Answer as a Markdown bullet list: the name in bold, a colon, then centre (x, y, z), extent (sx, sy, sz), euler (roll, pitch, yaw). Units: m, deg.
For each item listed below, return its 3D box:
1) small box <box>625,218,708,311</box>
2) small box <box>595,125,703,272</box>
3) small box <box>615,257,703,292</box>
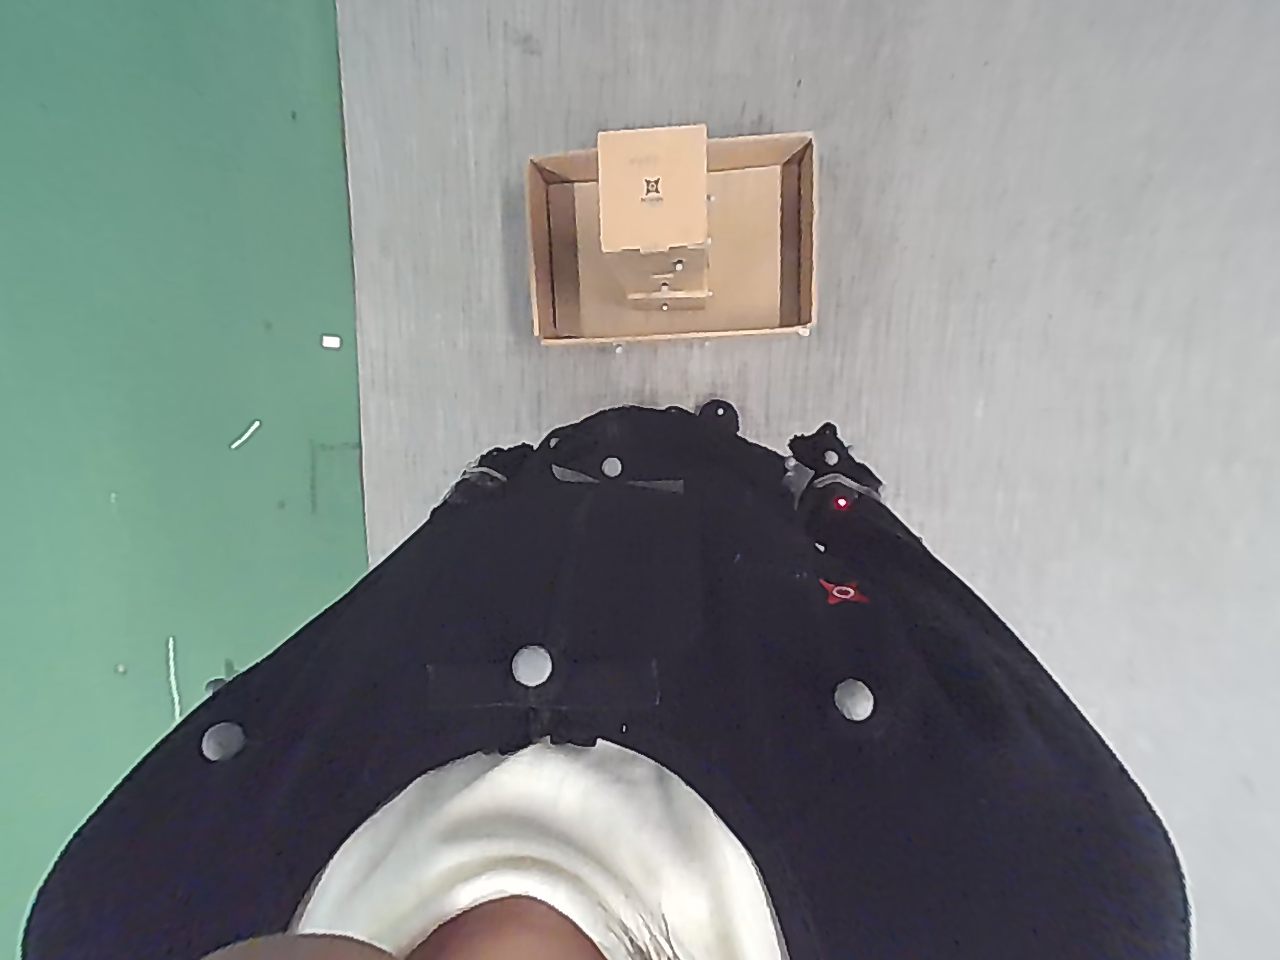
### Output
- **small box**: centre (0.063, -0.489, 1.242), extent (0.179, 0.176, 0.168), euler (2, 97, 7)
- **small box**: centre (0.021, -0.455, 0.904), extent (0.168, 0.176, 0.179), euler (-1, 97, 5)
- **small box**: centre (0.040, -0.482, 1.083), extent (0.168, 0.176, 0.179), euler (-3, 97, 7)
